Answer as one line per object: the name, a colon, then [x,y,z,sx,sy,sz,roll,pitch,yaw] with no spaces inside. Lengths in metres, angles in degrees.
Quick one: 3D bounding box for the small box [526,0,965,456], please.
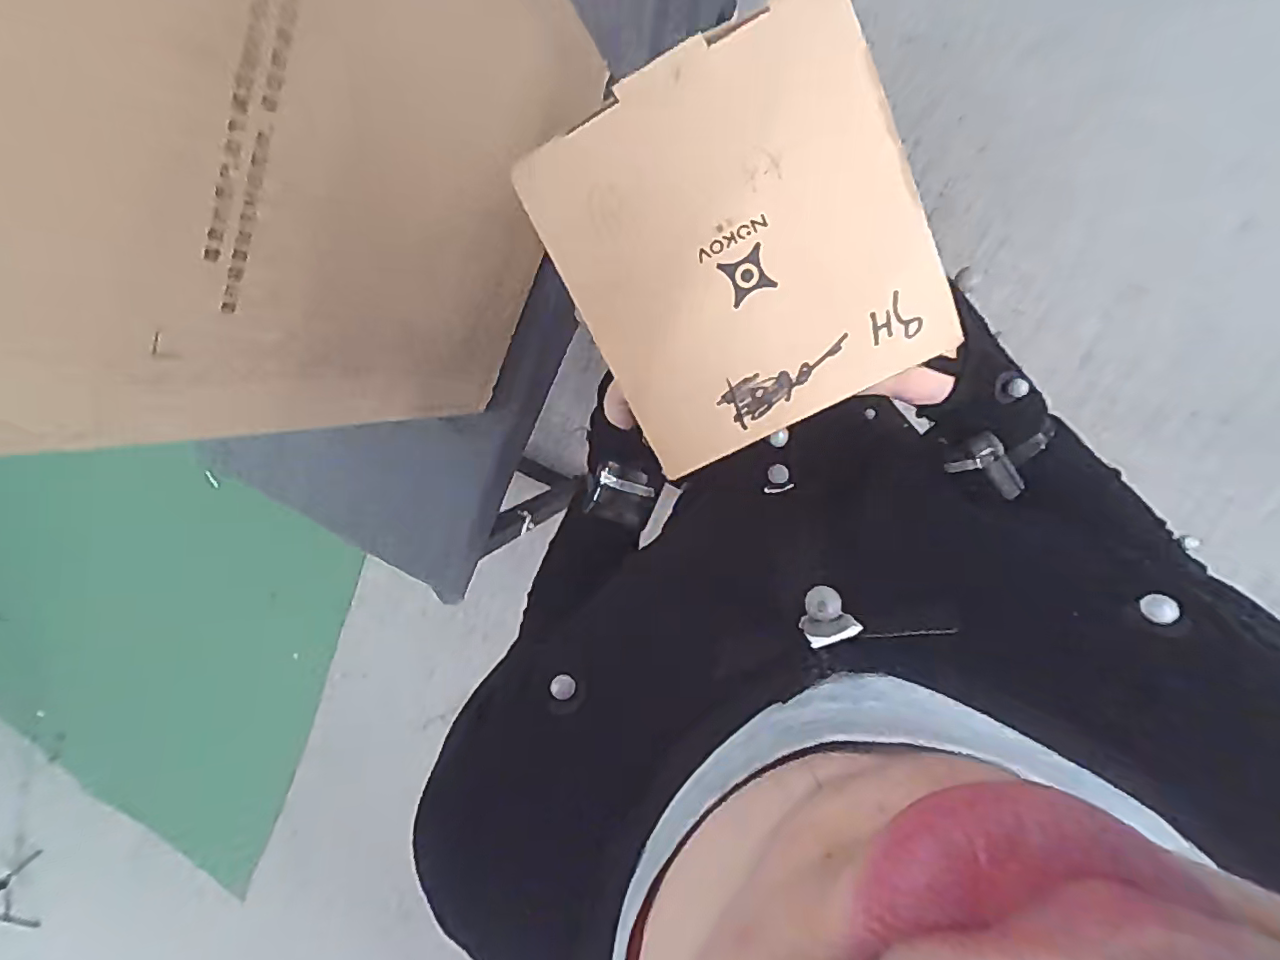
small box: [0.057,-0.140,0.338,0.168,0.176,0.179,-25,104,10]
